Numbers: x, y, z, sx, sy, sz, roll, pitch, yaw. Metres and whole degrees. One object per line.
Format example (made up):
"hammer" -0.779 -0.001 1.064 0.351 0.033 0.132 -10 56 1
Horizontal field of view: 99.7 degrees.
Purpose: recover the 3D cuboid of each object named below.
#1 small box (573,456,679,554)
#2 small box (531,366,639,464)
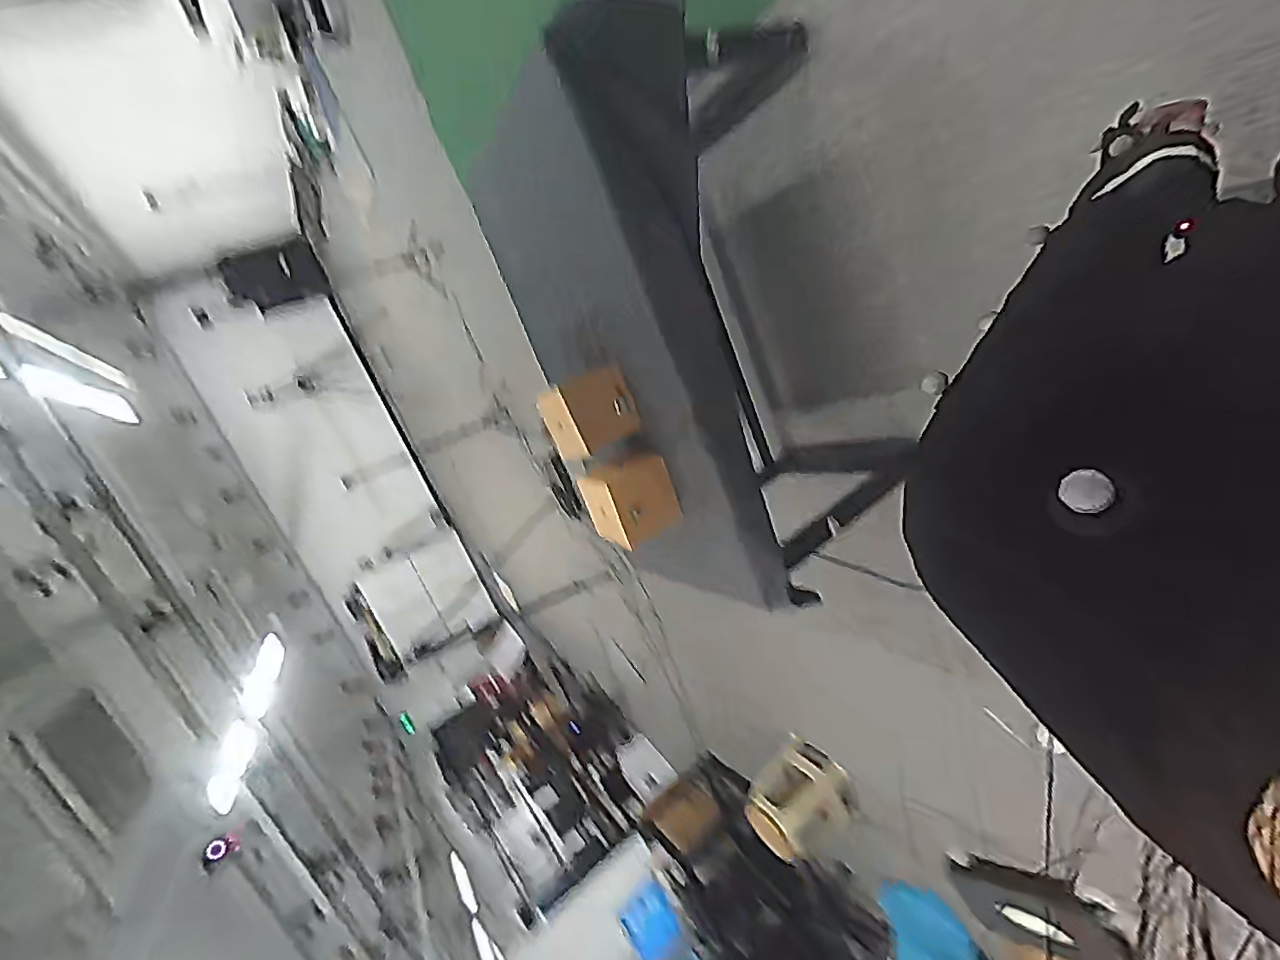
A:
"small box" -0.031 0.052 1.332 0.168 0.176 0.179 11 126 56
"small box" -0.131 -0.154 1.303 0.179 0.176 0.168 -9 110 61
